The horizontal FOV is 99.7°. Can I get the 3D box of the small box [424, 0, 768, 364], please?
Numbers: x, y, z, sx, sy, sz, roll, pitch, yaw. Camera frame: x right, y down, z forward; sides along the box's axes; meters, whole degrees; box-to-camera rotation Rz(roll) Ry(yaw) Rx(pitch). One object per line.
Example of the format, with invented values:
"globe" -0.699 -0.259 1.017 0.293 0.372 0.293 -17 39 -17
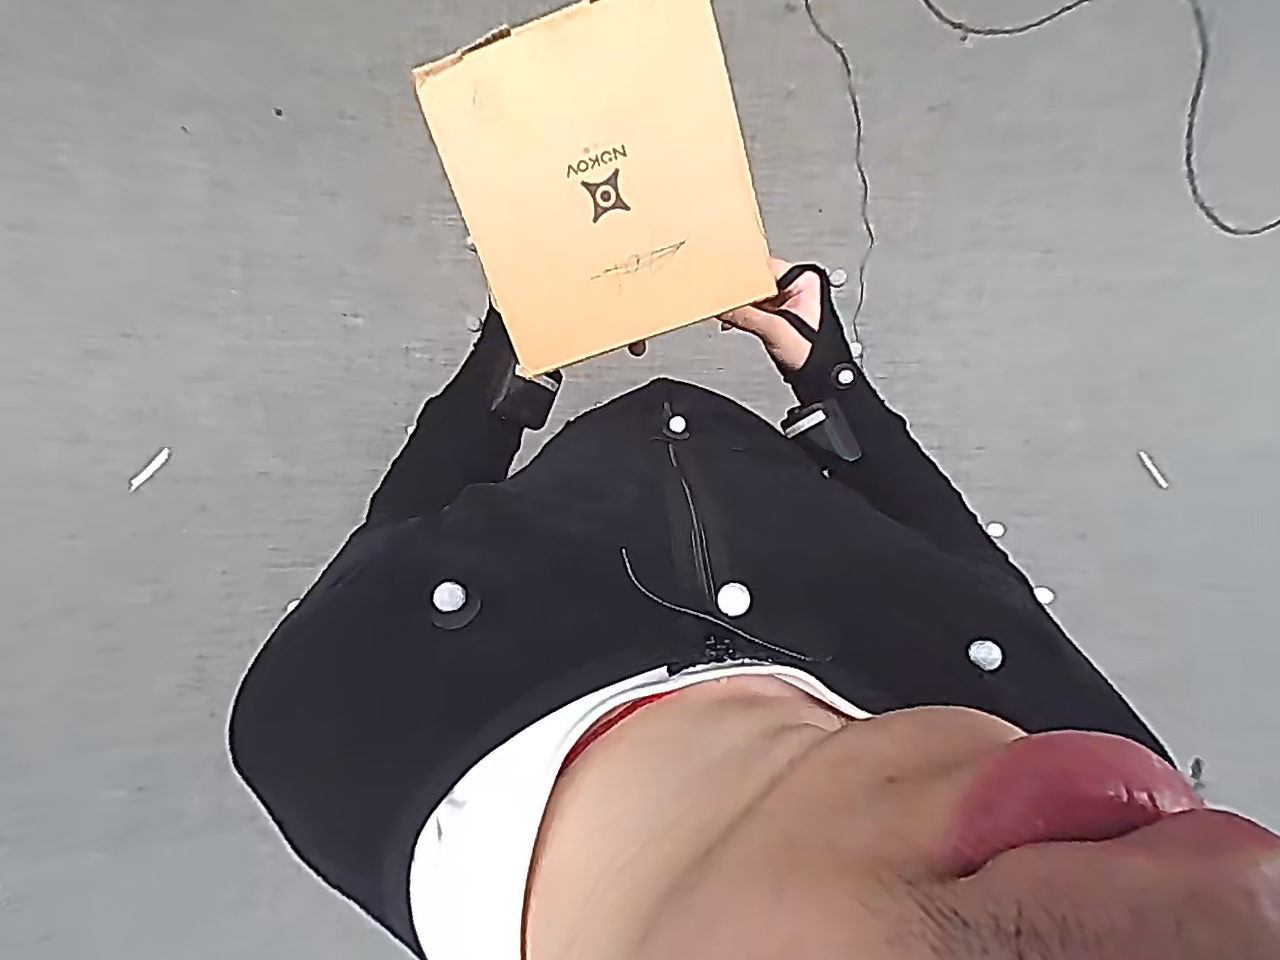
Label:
"small box" -0.021 -0.198 0.395 0.168 0.176 0.179 -16 108 6
